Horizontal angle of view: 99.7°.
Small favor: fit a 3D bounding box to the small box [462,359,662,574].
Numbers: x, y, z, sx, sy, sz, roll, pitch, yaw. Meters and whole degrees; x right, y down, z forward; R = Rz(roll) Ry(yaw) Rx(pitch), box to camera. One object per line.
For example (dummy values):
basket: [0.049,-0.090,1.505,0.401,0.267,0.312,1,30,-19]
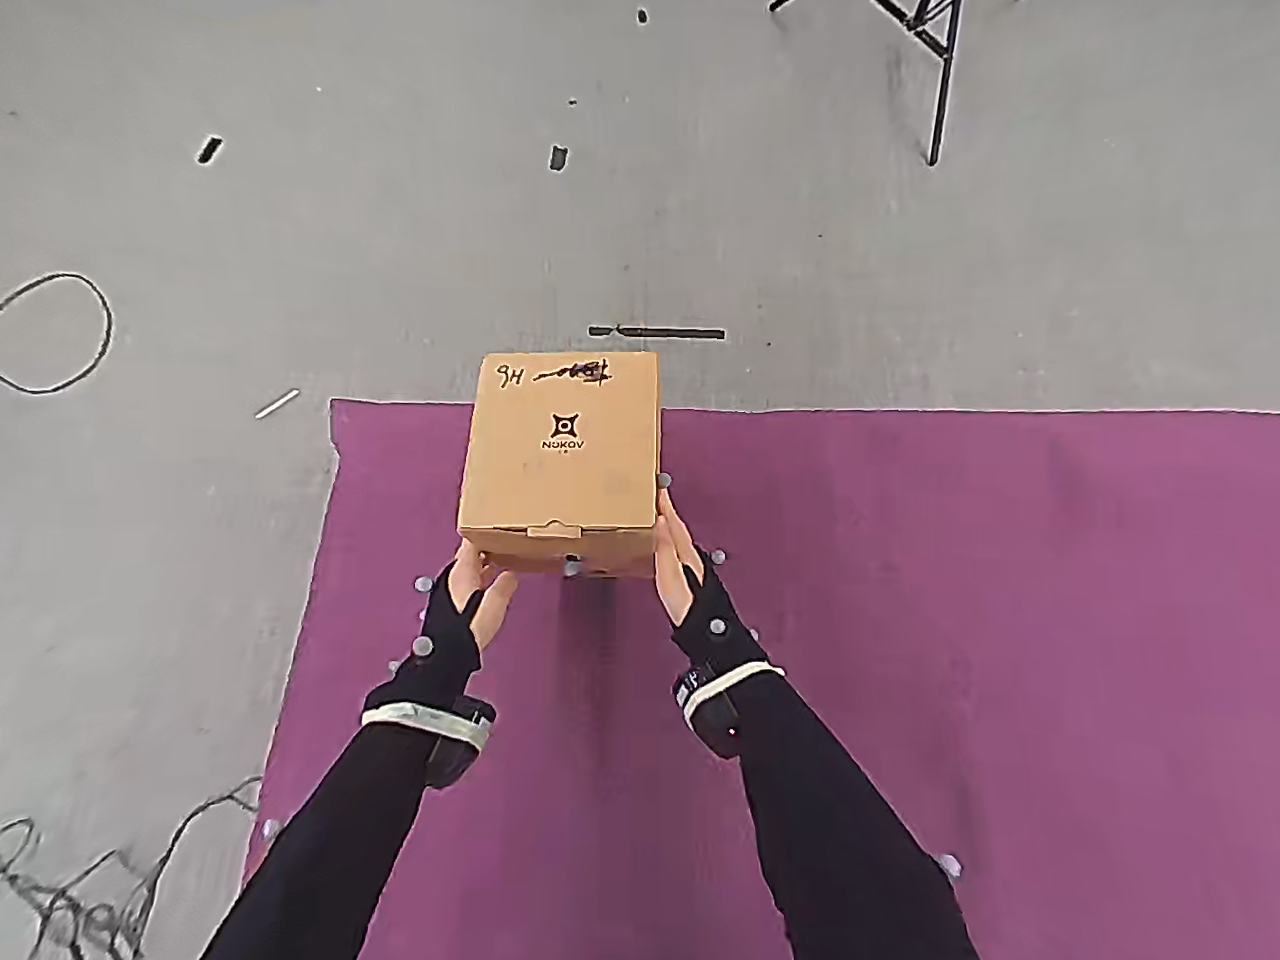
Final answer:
small box: [-0.063,-0.004,0.559,0.168,0.176,0.179,0,66,4]
